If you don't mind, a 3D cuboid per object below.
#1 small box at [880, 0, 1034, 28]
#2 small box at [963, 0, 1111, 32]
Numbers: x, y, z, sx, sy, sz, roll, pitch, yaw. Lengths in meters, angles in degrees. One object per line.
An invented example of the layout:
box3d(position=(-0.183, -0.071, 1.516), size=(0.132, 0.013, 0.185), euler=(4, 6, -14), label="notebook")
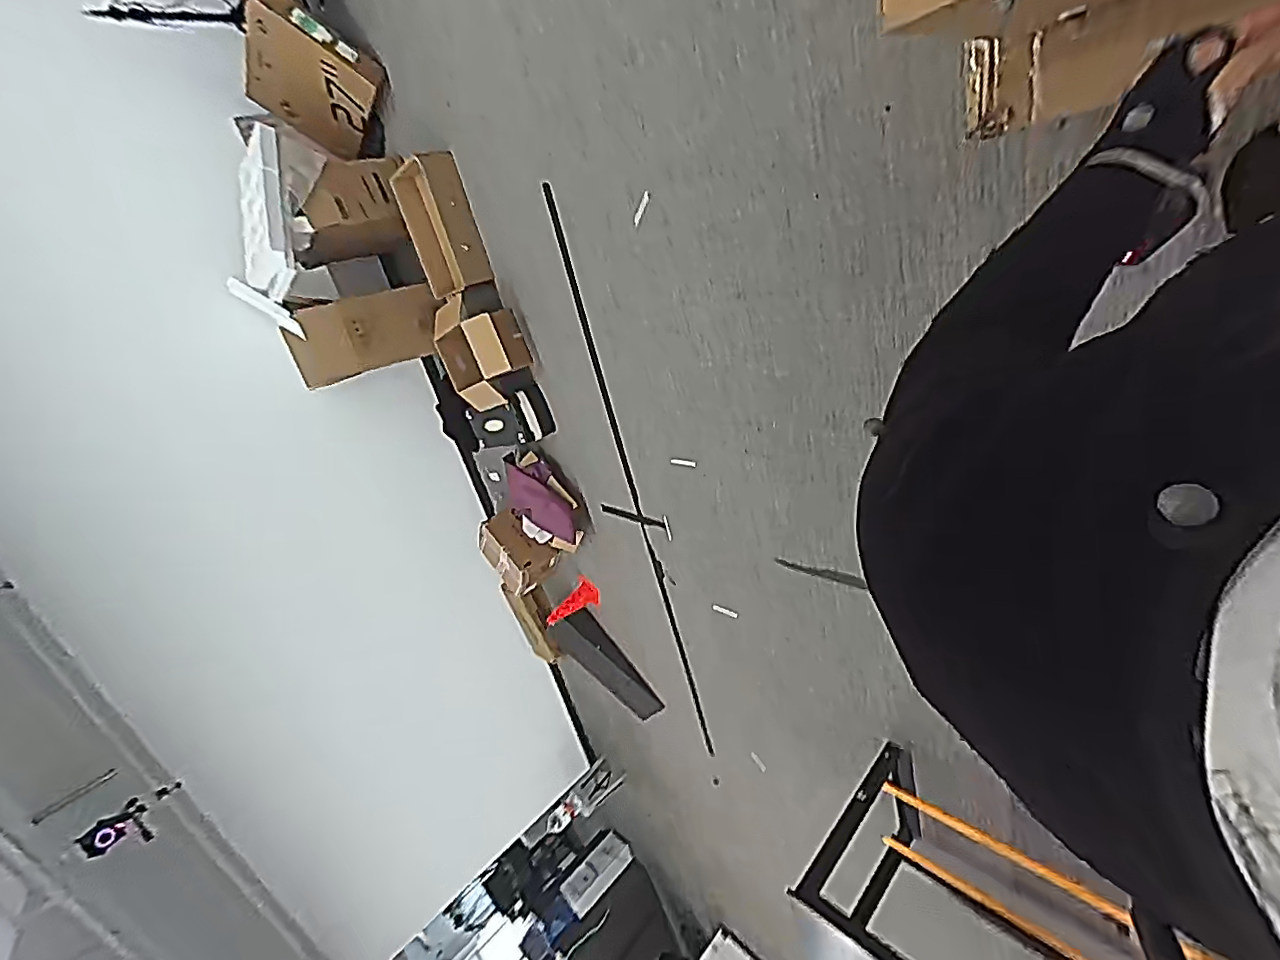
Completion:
box3d(position=(0.294, -0.464, 0.393), size=(0.179, 0.176, 0.168), euler=(11, 125, 47), label="small box")
box3d(position=(0.408, -0.539, 0.484), size=(0.168, 0.176, 0.179), euler=(13, 127, 48), label="small box")
